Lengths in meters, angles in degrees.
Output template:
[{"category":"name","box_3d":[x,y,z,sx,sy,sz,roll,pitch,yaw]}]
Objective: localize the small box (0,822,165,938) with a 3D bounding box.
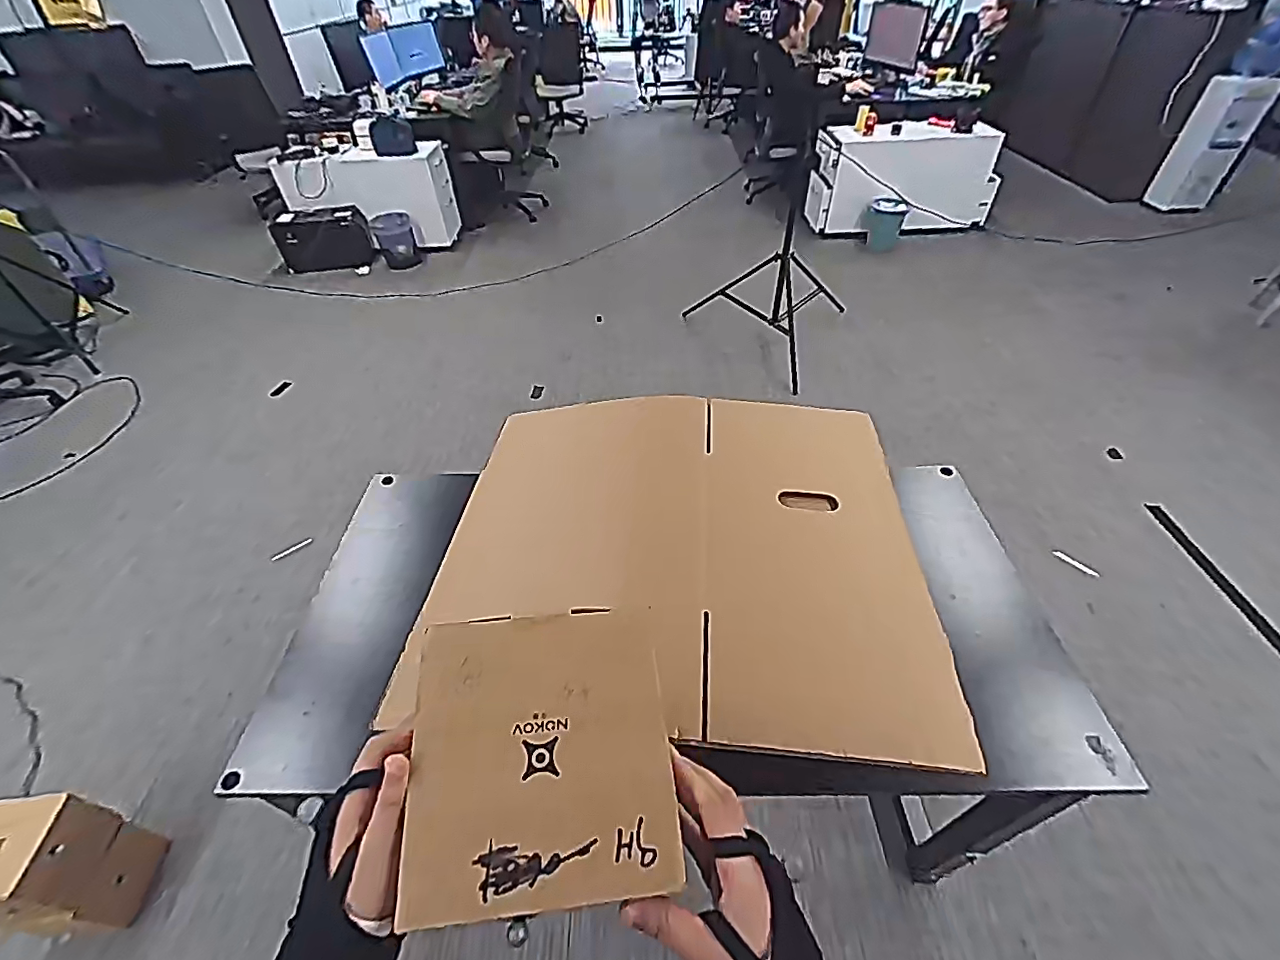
[{"category":"small box","box_3d":[-1.208,0.880,1.189,0.168,0.176,0.179,-4,45,-1]}]

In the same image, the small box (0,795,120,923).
[{"category":"small box","box_3d":[-1.215,0.760,1.080,0.168,0.176,0.179,-6,43,-4]}]

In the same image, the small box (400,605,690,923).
[{"category":"small box","box_3d":[-0.063,0.215,0.416,0.168,0.176,0.179,-4,56,-5]}]
